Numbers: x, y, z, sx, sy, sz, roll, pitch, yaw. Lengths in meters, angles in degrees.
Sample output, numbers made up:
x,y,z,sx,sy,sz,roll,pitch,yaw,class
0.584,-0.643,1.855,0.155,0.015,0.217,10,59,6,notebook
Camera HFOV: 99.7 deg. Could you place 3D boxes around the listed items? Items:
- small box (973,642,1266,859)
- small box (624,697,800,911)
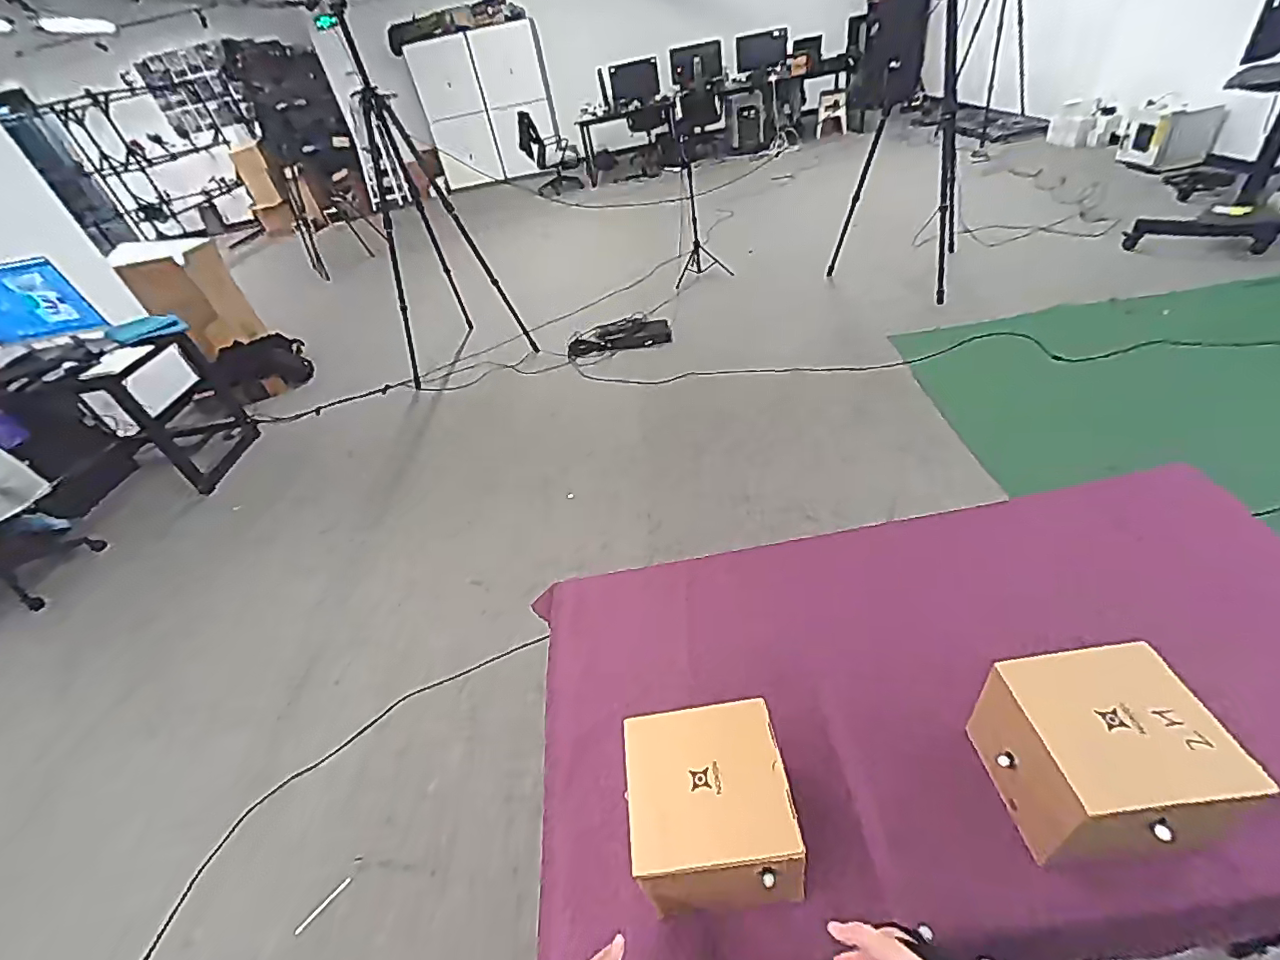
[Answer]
x,y,z,sx,sy,sz,roll,pitch,yaw,class
0.517,0.315,0.625,0.179,0.176,0.168,-9,40,4,small box
0.084,0.391,0.651,0.179,0.176,0.168,-10,39,2,small box
